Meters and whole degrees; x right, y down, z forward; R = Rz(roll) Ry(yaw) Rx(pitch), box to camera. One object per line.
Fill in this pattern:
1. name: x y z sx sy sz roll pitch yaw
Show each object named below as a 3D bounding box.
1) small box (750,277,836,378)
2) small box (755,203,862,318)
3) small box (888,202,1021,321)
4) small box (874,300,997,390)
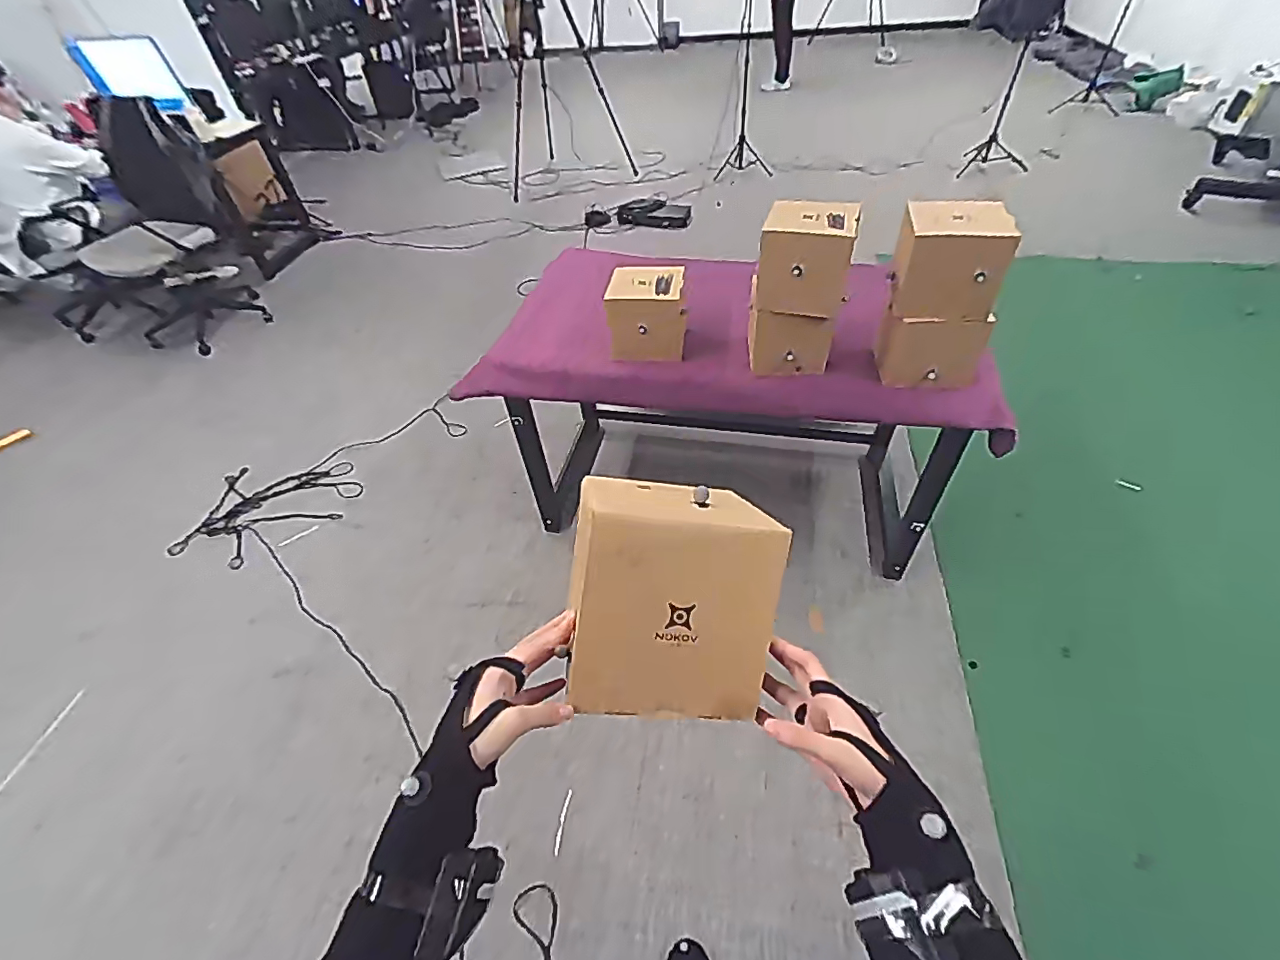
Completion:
1. small box: 0.345 -0.355 1.252 0.168 0.176 0.179 1 46 7
2. small box: 0.344 -0.451 1.116 0.179 0.176 0.168 11 47 18
3. small box: 0.607 -0.429 1.068 0.179 0.176 0.168 6 48 13
4. small box: 0.630 -0.310 1.179 0.179 0.176 0.168 3 47 9
